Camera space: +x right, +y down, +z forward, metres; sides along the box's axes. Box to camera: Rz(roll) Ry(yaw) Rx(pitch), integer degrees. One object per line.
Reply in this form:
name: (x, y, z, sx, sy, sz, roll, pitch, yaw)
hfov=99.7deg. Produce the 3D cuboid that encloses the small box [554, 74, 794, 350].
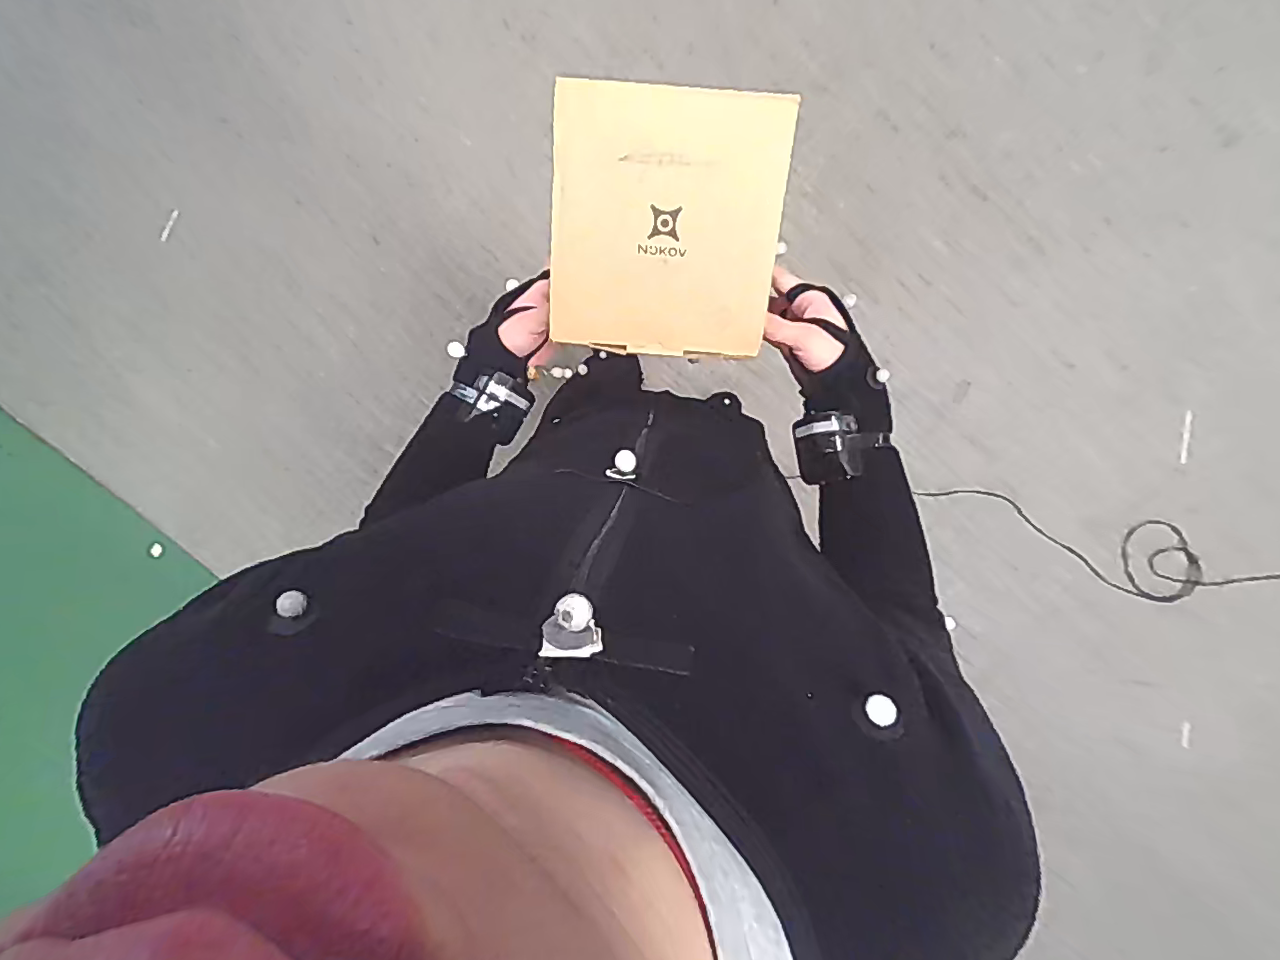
small box: (0.021, -0.216, 0.471, 0.168, 0.176, 0.179, 4, 109, 0)
